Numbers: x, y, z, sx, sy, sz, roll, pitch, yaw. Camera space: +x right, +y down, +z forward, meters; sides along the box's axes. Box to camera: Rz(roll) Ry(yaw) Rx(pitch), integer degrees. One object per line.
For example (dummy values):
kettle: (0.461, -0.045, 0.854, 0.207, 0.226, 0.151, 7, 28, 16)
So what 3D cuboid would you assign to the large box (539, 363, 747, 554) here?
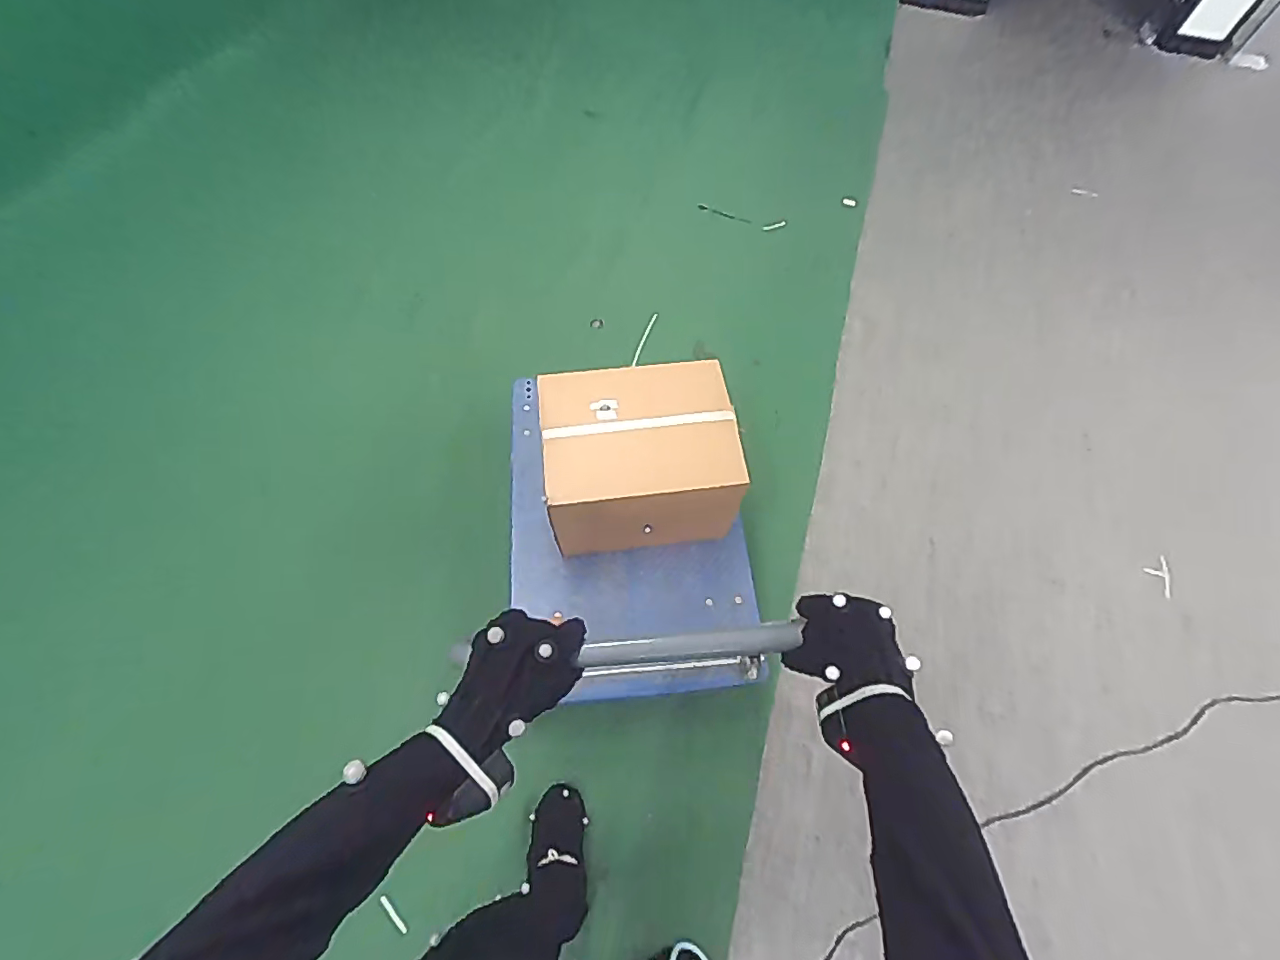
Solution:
large box: (-0.003, -0.039, 1.267, 0.408, 0.320, 0.320, -7, 64, -5)
